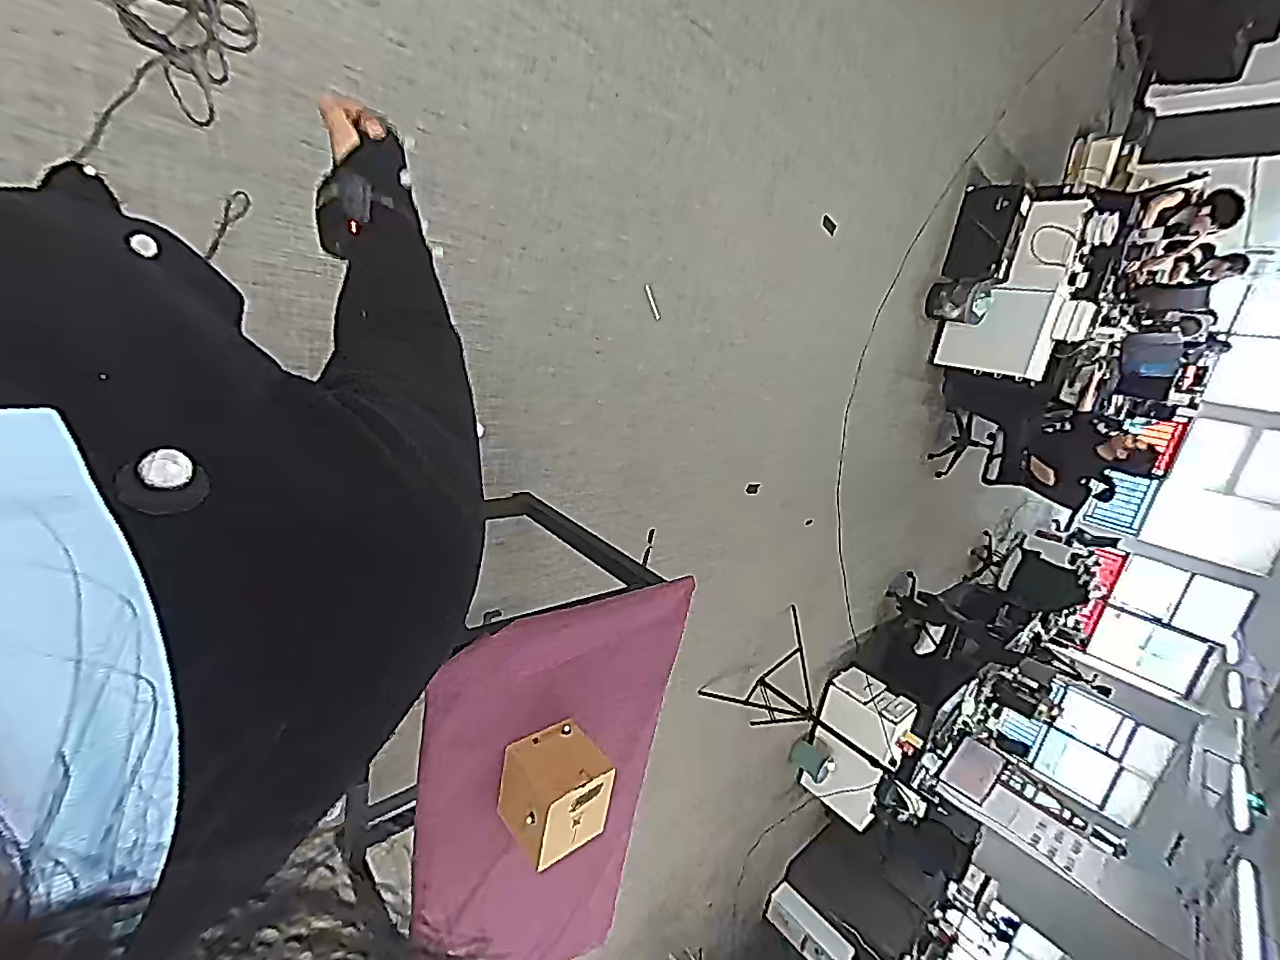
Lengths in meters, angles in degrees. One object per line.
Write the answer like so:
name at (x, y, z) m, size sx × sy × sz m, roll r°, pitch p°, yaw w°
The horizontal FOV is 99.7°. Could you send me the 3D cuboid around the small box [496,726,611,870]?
small box at (-0.187, 0.651, 1.139) m, size 0.168 × 0.176 × 0.179 m, roll -4°, pitch 112°, yaw -43°
